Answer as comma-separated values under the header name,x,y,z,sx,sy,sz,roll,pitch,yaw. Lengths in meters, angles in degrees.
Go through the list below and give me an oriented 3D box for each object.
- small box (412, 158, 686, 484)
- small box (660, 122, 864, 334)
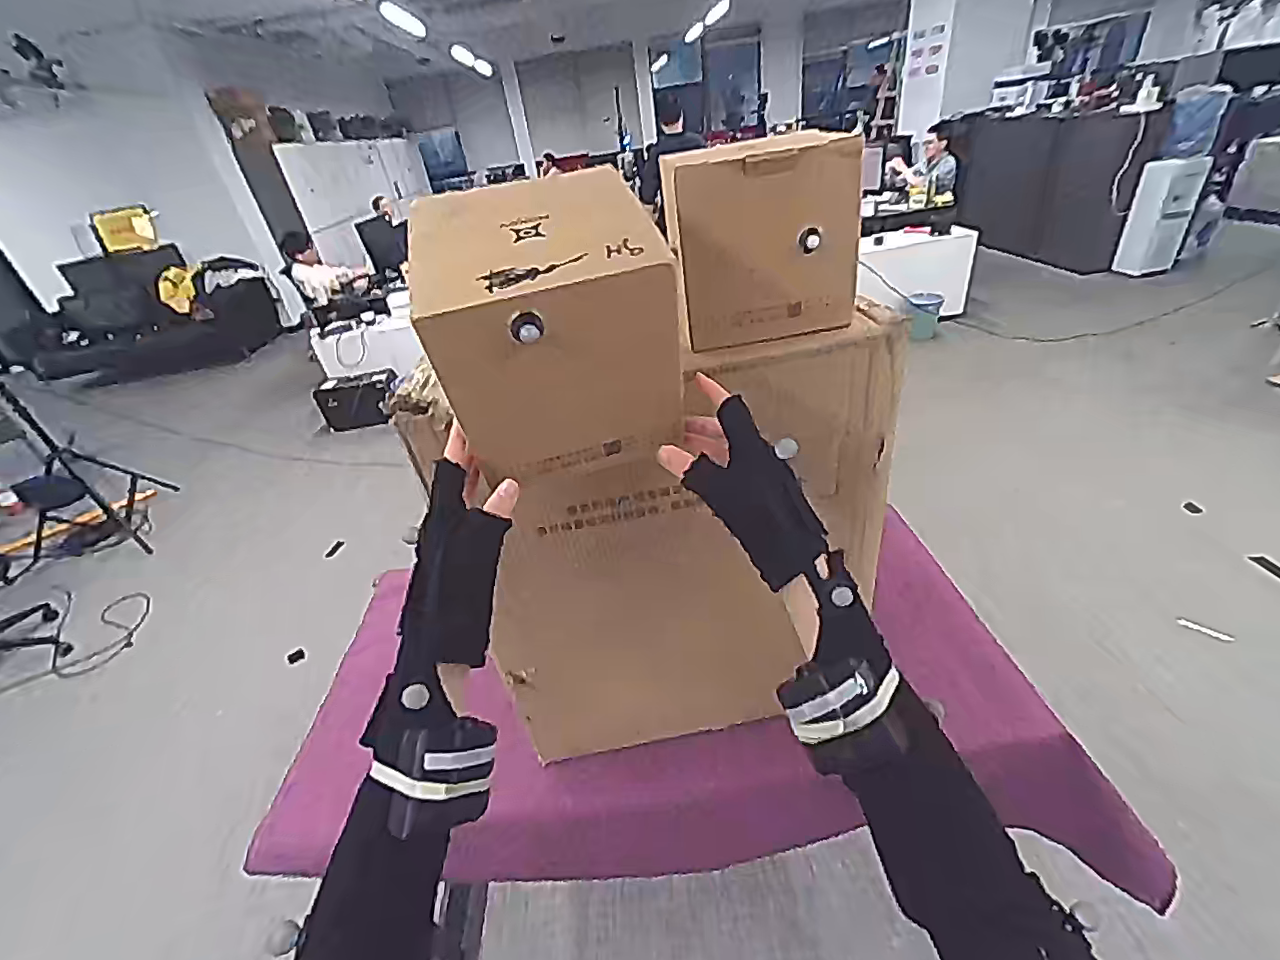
name,x,y,z,sx,sy,sz,roll,pitch,yaw
small box,-0.066,-0.126,0.433,0.168,0.176,0.179,-15,50,-6
small box,0.118,-0.261,0.568,0.168,0.176,0.179,-8,32,2
